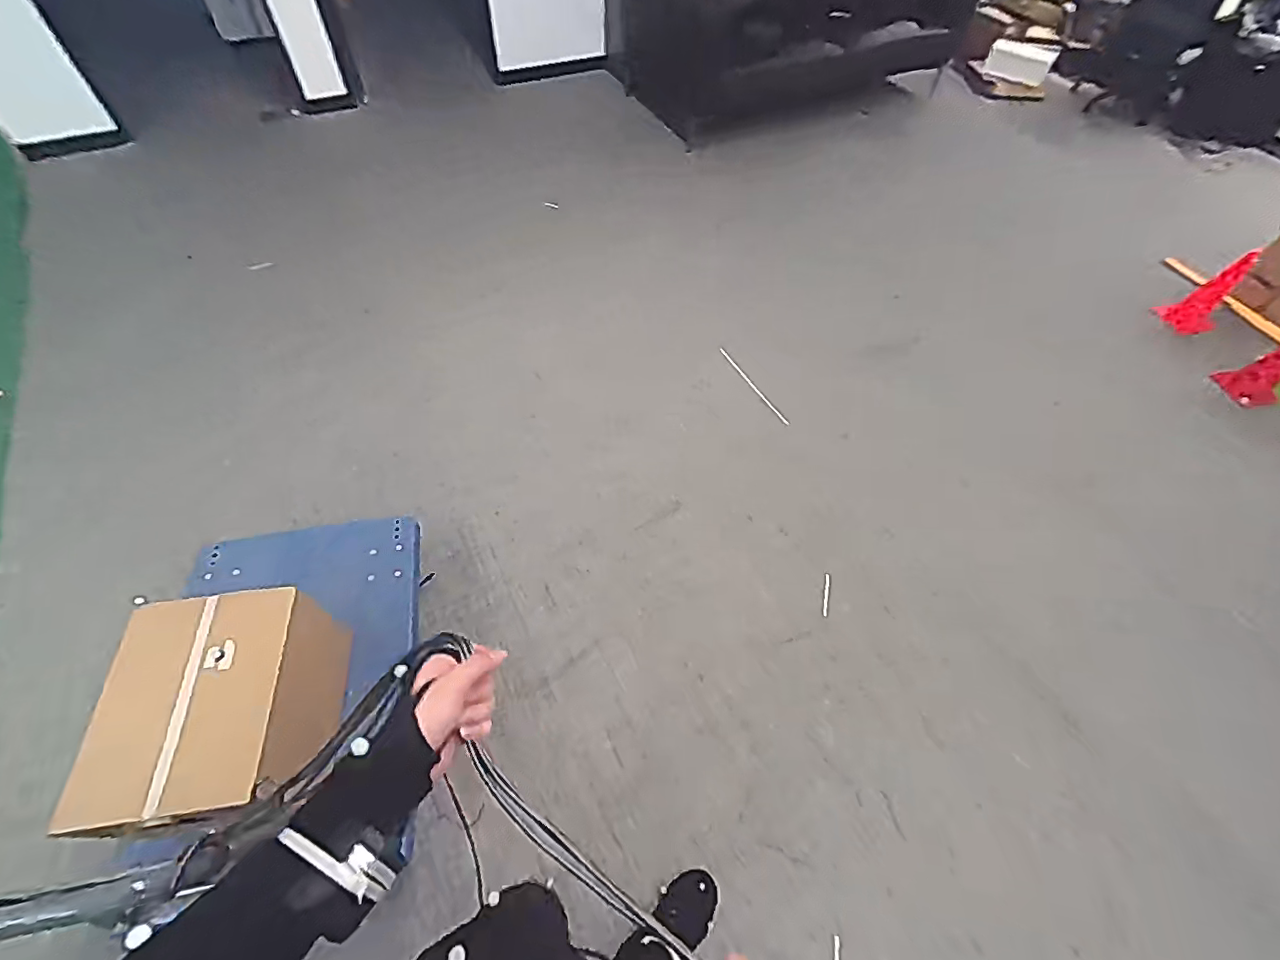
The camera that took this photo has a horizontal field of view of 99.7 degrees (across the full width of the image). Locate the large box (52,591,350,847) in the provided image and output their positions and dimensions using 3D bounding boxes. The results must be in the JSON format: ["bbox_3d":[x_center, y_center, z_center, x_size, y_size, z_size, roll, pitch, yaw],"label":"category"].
[{"bbox_3d":[-0.842,0.494,1.121,0.320,0.320,0.408,-5,55,-8],"label":"large box"}]
